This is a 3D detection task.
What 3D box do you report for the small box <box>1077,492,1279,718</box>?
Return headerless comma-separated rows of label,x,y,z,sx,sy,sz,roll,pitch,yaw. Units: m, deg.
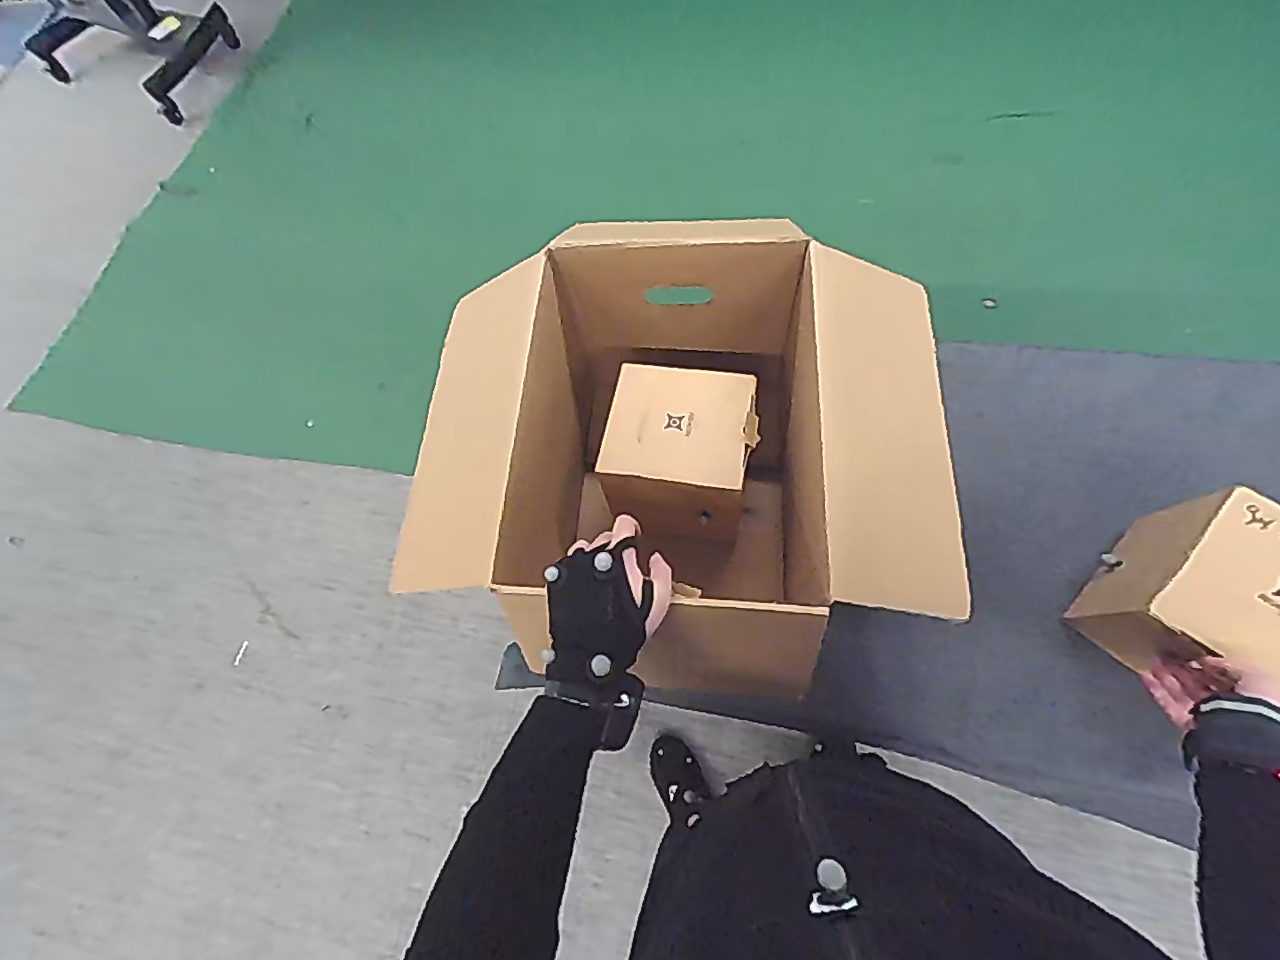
small box,0.650,0.148,0.610,0.168,0.176,0.179,40,84,20
